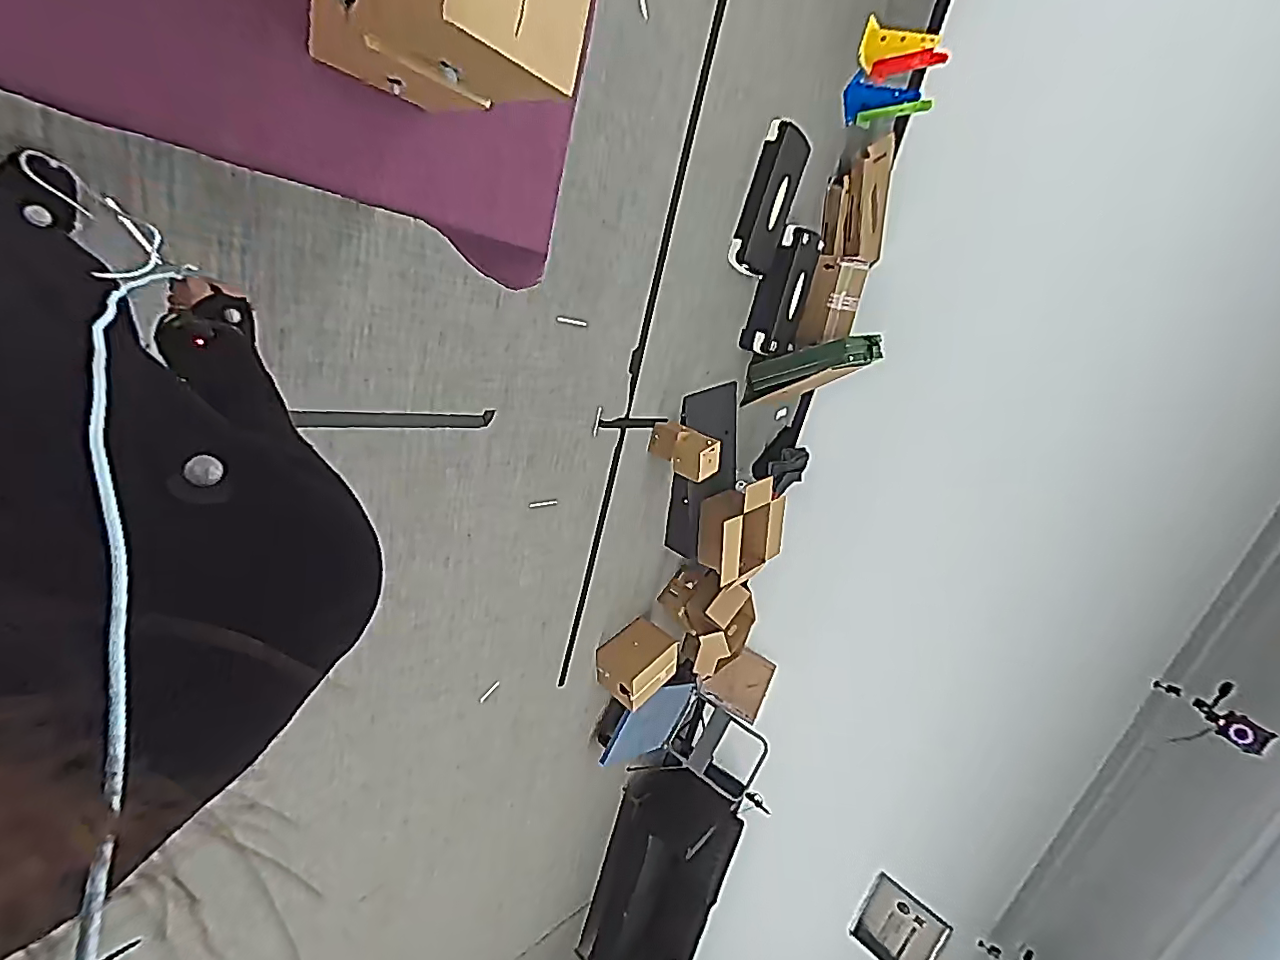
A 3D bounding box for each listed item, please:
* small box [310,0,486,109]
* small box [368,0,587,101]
[{"bbox_3d":[-0.297,-0.601,0.685,0.168,0.176,0.179,-8,118,-50],"label":"small box"},{"bbox_3d":[-0.174,-0.547,0.589,0.168,0.176,0.179,-7,118,-50],"label":"small box"}]
